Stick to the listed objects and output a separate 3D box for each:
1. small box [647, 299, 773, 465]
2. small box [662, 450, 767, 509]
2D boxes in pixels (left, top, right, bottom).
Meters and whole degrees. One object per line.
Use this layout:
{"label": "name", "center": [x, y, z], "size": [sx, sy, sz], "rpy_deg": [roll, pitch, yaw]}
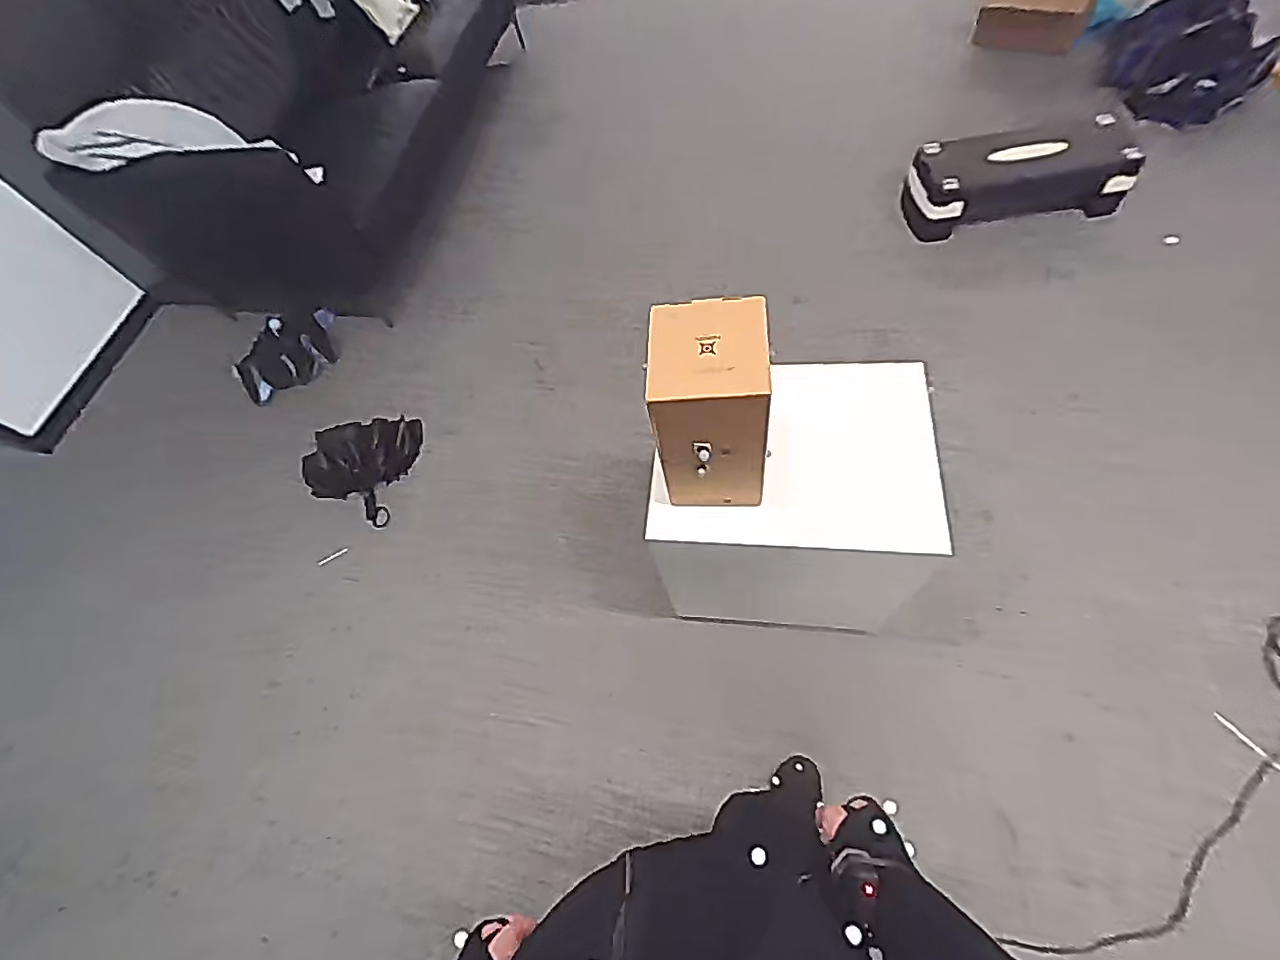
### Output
{"label": "small box", "center": [0.107, -0.139, 0.807], "size": [0.168, 0.176, 0.179], "rpy_deg": [-3, 62, 10]}
{"label": "small box", "center": [0.134, -0.064, 0.949], "size": [0.168, 0.176, 0.179], "rpy_deg": [0, 61, 11]}
